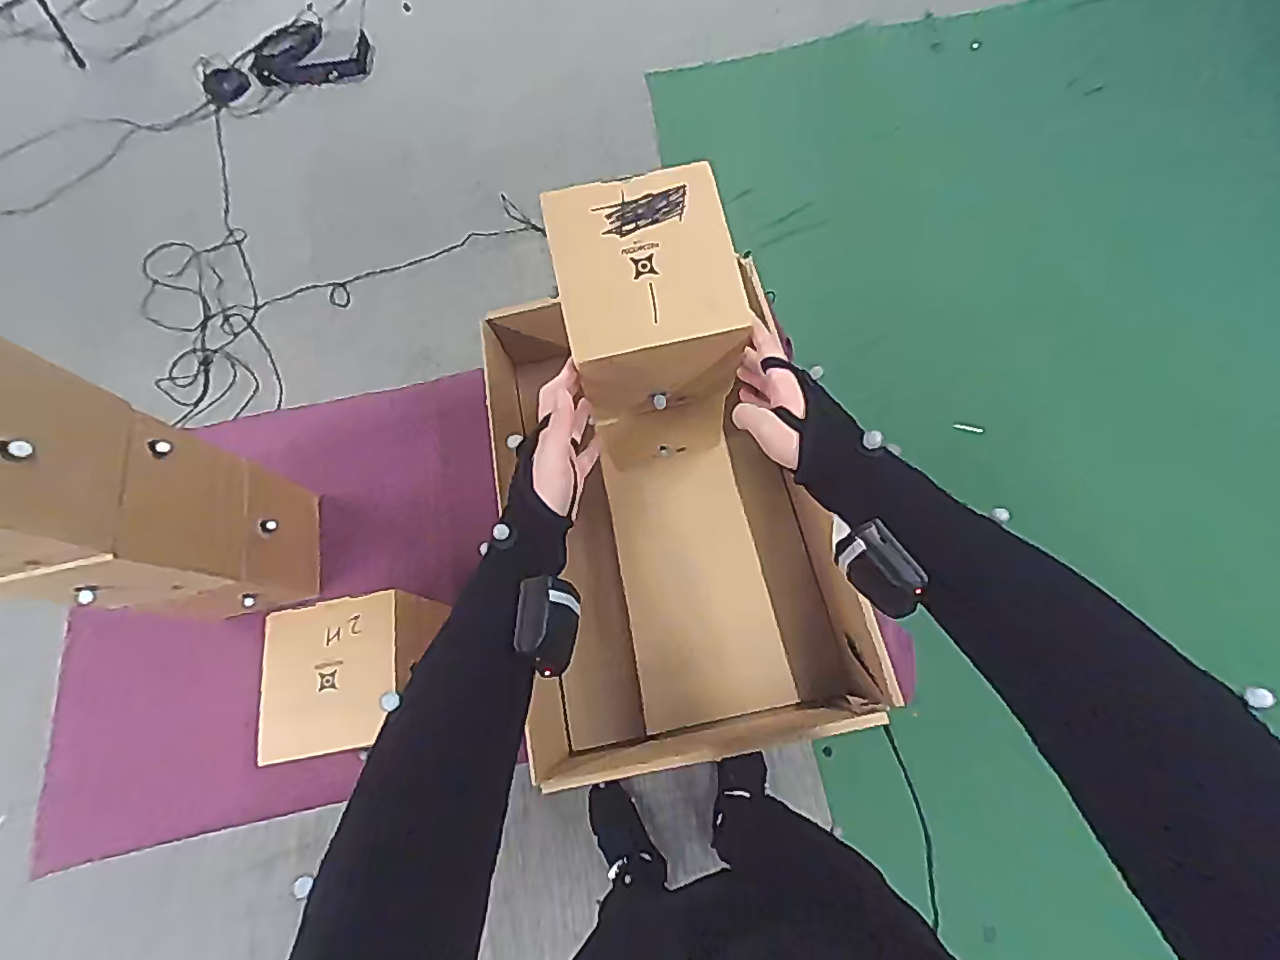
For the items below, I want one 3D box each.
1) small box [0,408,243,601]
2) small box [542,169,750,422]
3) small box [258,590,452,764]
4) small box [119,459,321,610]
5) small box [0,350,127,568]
[{"bbox_3d":[-0.613,0.041,0.643,0.168,0.176,0.179,-12,70,0],"label":"small box"},{"bbox_3d":[0.003,-0.181,0.573,0.168,0.176,0.179,-13,78,-1],"label":"small box"},{"bbox_3d":[-0.361,0.255,0.714,0.168,0.176,0.179,-10,69,1],"label":"small box"},{"bbox_3d":[-0.600,0.091,0.797,0.168,0.176,0.179,-11,70,0],"label":"small box"},{"bbox_3d":[-0.626,-0.017,0.490,0.168,0.176,0.179,-12,71,-1],"label":"small box"}]
